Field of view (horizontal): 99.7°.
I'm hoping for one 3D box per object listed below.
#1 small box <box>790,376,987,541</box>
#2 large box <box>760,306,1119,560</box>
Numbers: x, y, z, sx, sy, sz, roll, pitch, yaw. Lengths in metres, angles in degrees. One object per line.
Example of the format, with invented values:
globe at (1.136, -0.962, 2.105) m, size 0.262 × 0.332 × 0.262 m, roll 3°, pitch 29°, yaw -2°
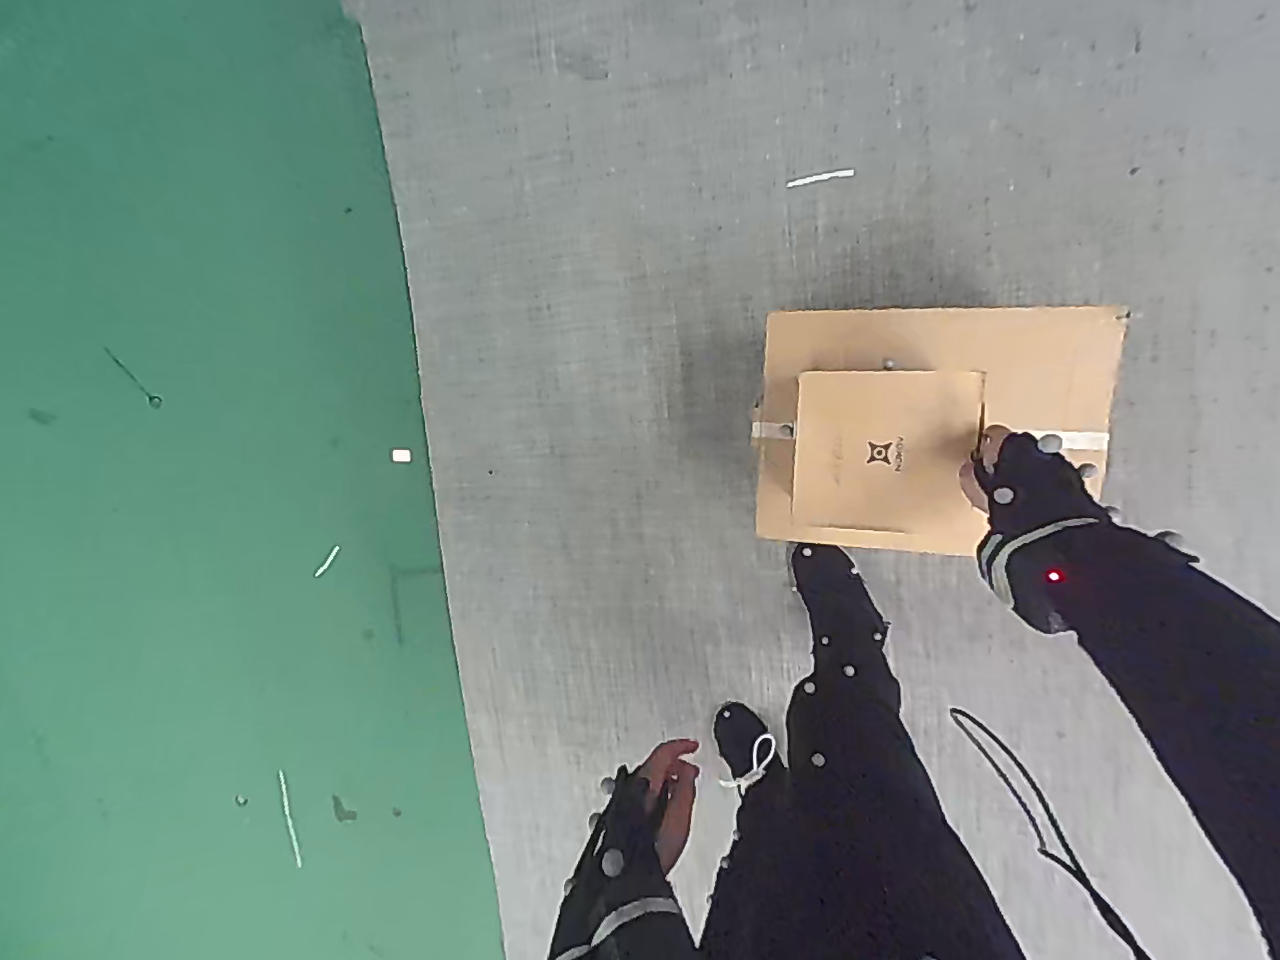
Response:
small box at (0.268, -0.034, 0.624) m, size 0.179 × 0.176 × 0.168 m, roll 2°, pitch 98°, yaw 16°
large box at (0.396, -0.079, 0.836) m, size 0.408 × 0.320 × 0.320 m, roll 3°, pitch 100°, yaw 14°
